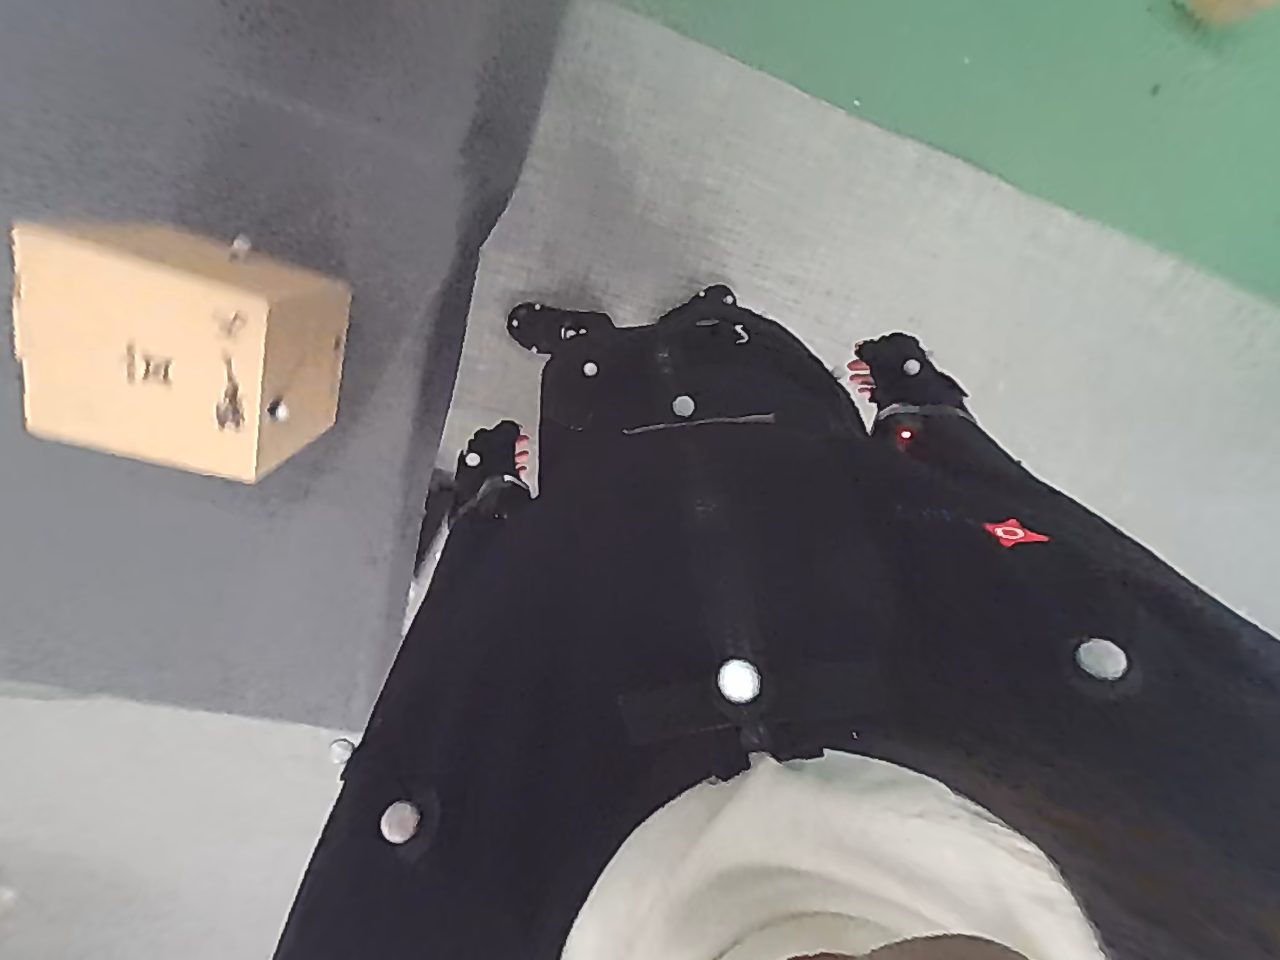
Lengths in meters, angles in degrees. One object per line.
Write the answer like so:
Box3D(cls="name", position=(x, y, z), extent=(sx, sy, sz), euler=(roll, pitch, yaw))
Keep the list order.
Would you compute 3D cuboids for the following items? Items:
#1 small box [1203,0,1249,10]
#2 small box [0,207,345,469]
Box3D(cls="small box", position=(1.203, -1.059, 1.034), extent=(0.168, 0.176, 0.179), euler=(20, 111, -17))
Box3D(cls="small box", position=(-0.409, -0.134, 0.504), extent=(0.179, 0.176, 0.168), euler=(15, 113, -12))
